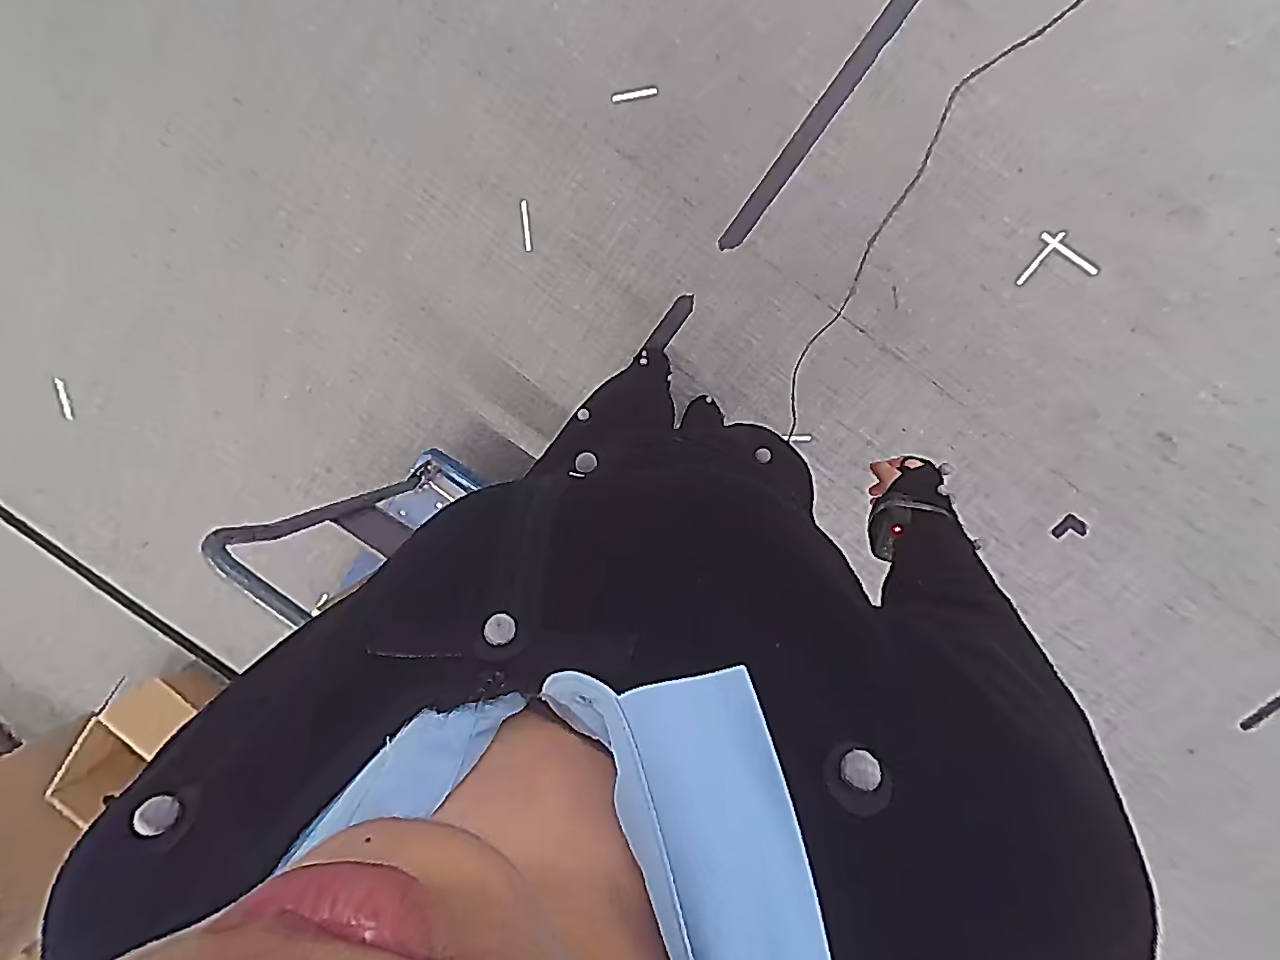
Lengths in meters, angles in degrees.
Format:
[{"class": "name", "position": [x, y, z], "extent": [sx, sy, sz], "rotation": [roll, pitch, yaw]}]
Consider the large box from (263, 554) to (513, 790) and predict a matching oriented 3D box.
[{"class": "large box", "position": [-0.604, 0.455, 1.353], "extent": [0.408, 0.320, 0.320], "rotation": [37, 105, -3]}]
